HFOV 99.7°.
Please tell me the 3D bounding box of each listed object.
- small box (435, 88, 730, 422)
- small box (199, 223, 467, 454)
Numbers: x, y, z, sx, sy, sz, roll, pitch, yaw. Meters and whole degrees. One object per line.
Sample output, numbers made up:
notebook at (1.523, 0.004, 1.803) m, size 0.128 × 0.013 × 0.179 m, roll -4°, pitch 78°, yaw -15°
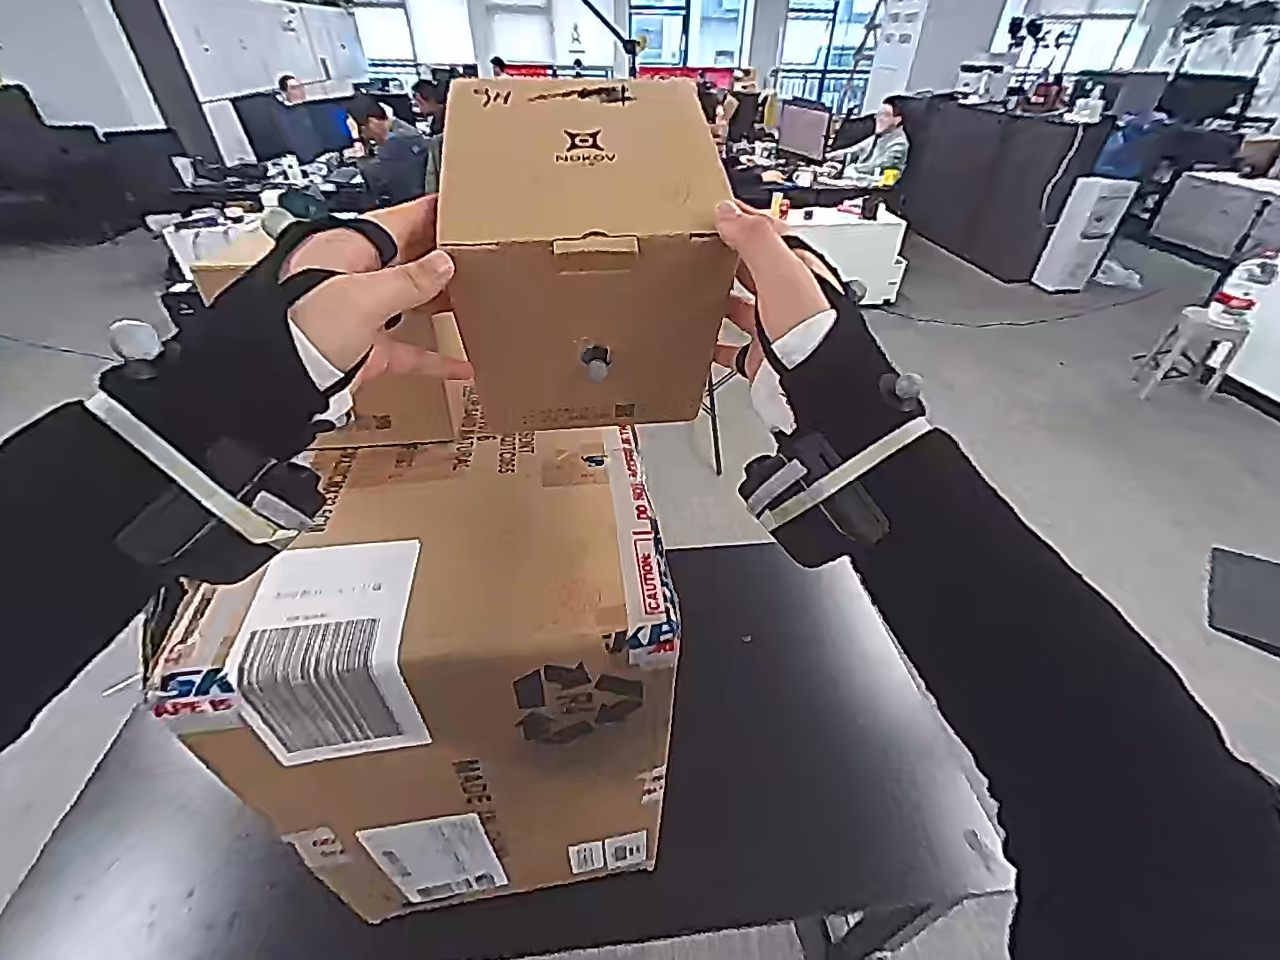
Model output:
small box at (-0.042, -0.156, 0.403) m, size 0.168 × 0.176 × 0.179 m, roll -5°, pitch 60°, yaw -7°
small box at (-0.269, -0.143, 0.529) m, size 0.168 × 0.176 × 0.179 m, roll -6°, pitch 37°, yaw -10°
